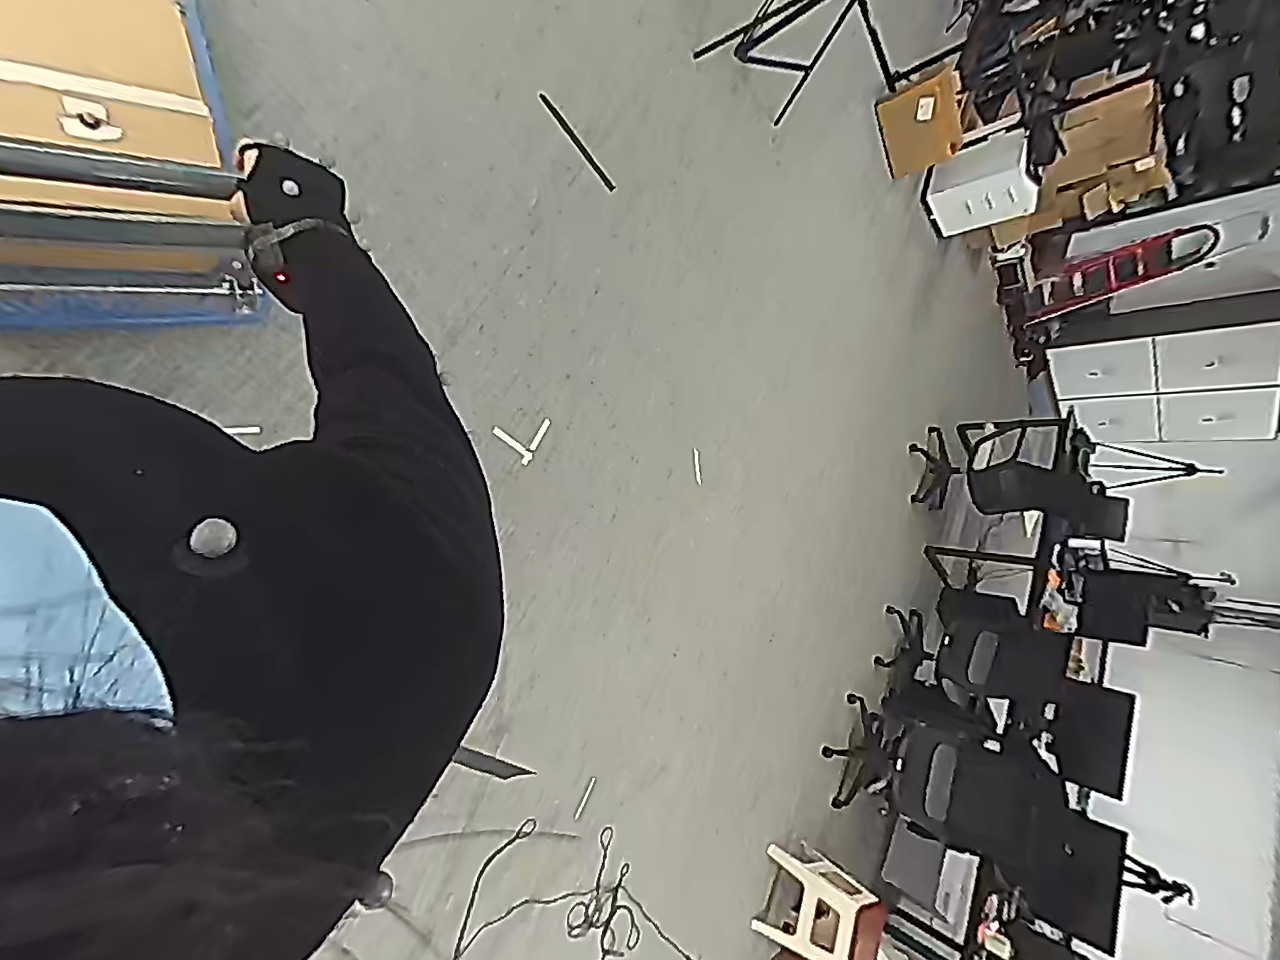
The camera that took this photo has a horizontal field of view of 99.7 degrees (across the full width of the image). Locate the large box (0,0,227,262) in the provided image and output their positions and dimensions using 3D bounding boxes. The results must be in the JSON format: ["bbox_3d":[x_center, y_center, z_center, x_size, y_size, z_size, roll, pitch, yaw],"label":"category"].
[{"bbox_3d":[-0.902,-0.519,0.778,0.408,0.320,0.320,-17,104,-43],"label":"large box"}]
